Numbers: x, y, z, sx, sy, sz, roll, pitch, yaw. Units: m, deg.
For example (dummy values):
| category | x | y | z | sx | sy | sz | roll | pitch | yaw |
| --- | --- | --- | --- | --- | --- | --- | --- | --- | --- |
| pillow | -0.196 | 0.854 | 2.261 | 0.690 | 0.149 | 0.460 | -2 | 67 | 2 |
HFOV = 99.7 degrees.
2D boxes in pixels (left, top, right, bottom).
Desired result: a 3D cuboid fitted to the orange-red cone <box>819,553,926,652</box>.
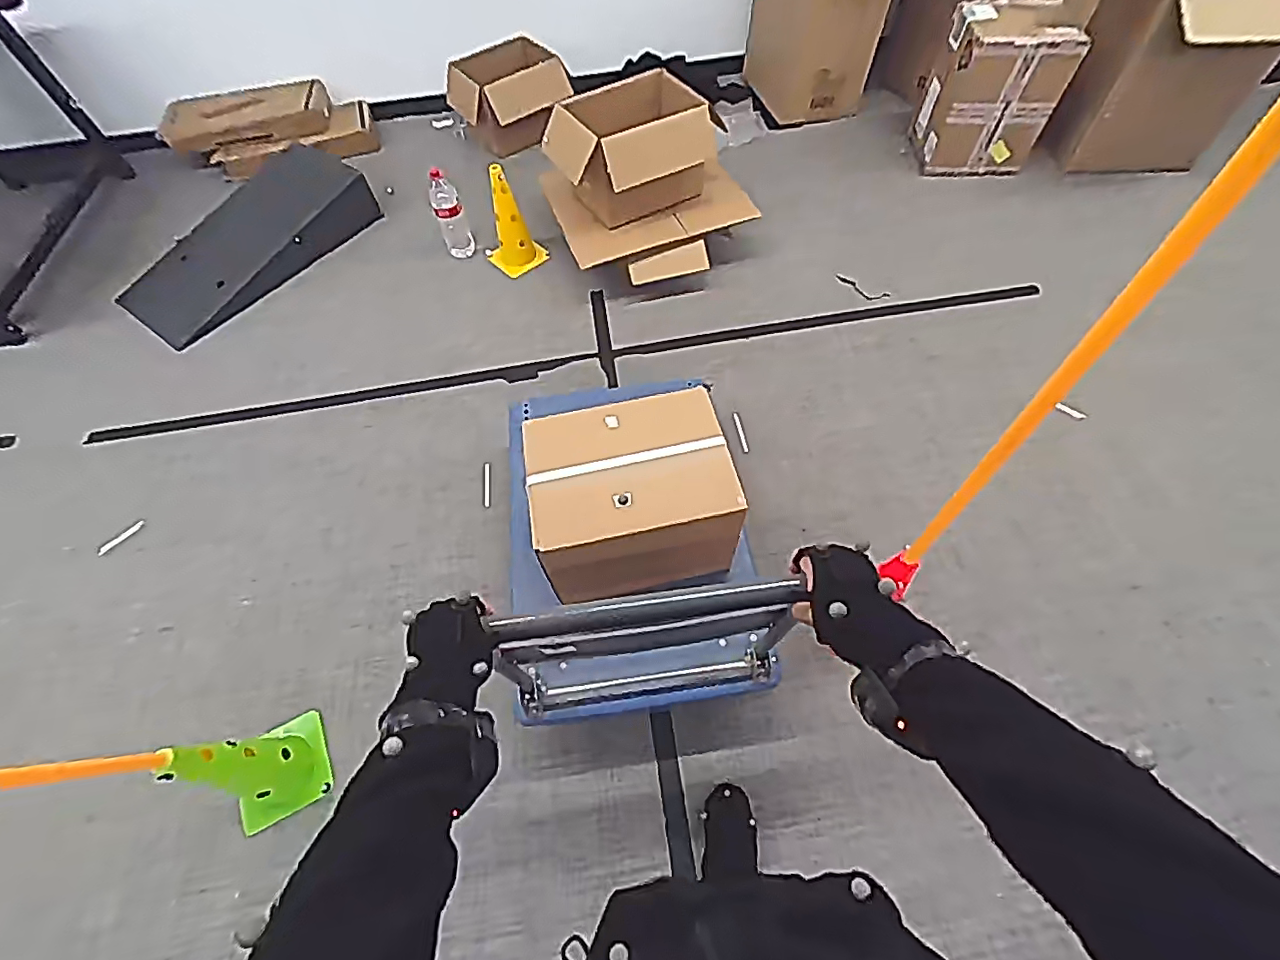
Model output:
| category | x | y | z | sx | sy | sz | roll | pitch | yaw |
| --- | --- | --- | --- | --- | --- | --- | --- | --- | --- |
| orange-red cone | 0.560 | 0.249 | 1.228 | 0.199 | 0.360 | 0.198 | -3 | 59 | 0 |
